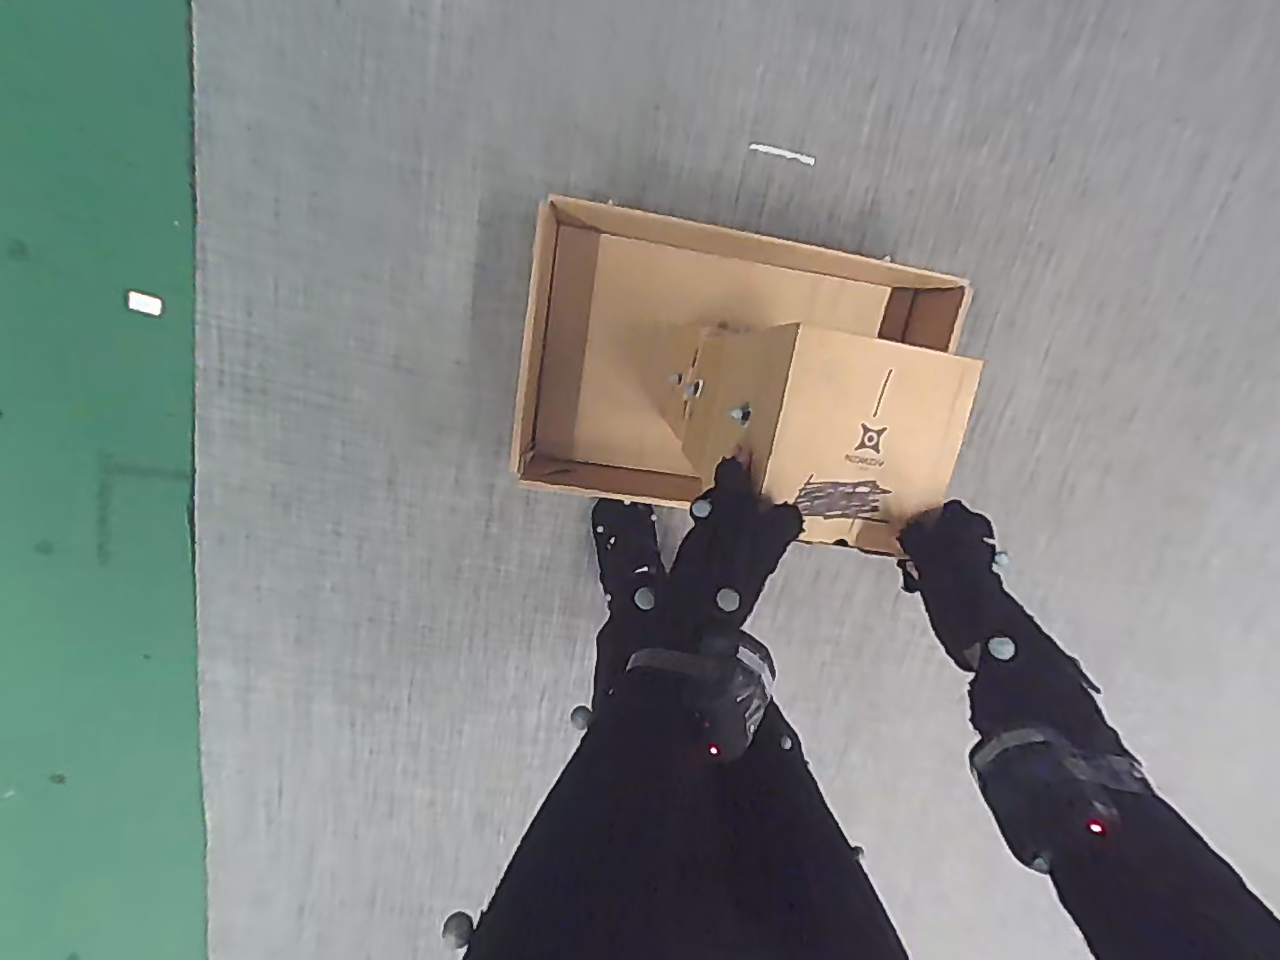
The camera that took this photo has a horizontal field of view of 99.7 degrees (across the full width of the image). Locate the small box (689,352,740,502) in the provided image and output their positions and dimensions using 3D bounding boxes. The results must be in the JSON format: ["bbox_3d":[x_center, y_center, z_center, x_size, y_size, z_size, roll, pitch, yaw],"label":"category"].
[{"bbox_3d":[0.170,-0.068,0.678,0.179,0.176,0.168,4,104,-6],"label":"small box"}]

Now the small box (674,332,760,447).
[{"bbox_3d":[0.154,-0.133,0.848,0.179,0.176,0.168,6,103,-6],"label":"small box"}]

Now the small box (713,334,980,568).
[{"bbox_3d":[0.178,-0.034,0.528,0.168,0.176,0.179,9,100,-9],"label":"small box"}]
